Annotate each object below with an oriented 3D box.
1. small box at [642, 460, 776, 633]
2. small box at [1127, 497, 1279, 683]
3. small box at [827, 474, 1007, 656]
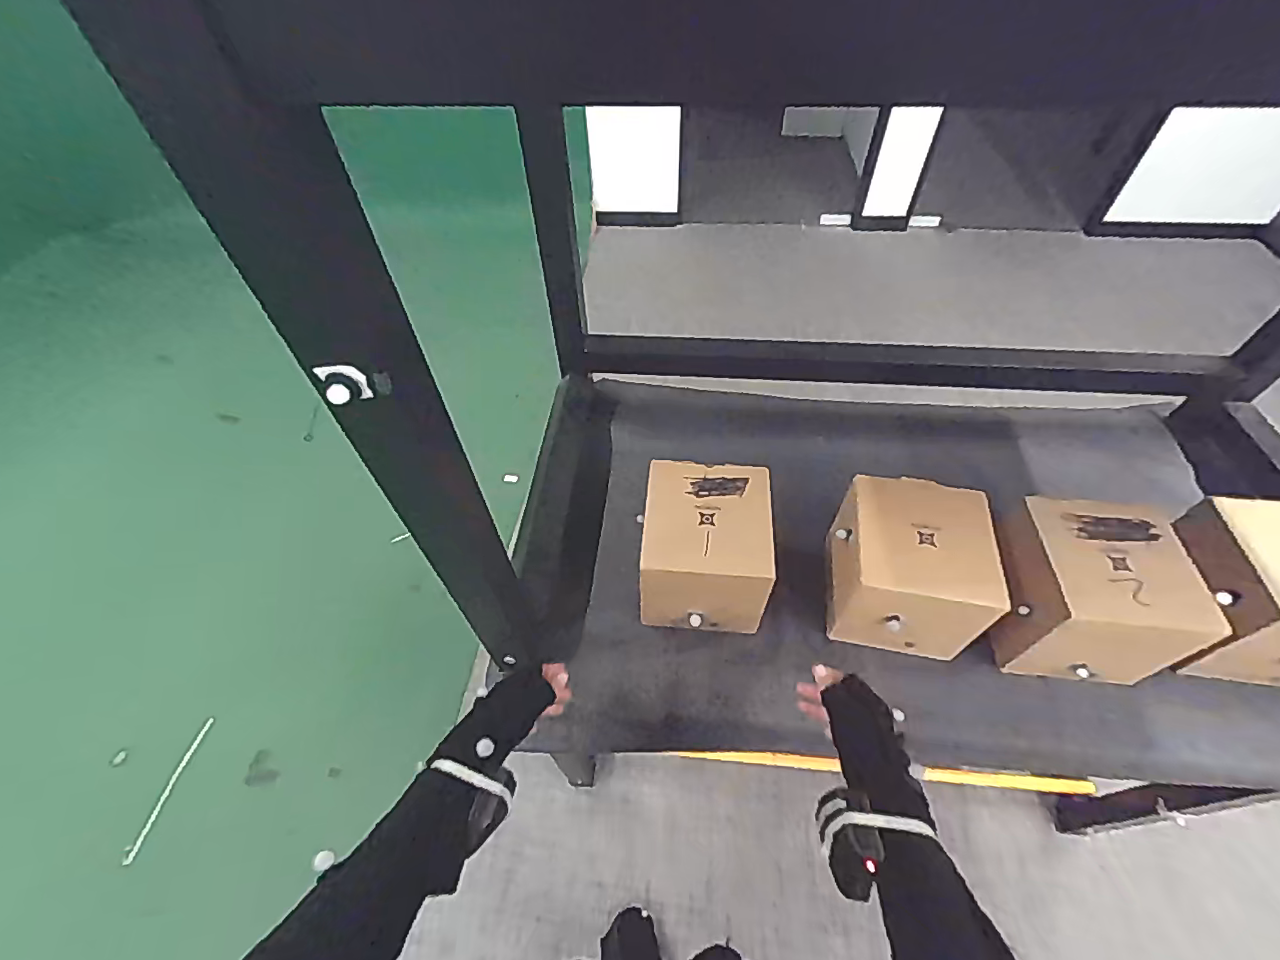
[{"bbox_3d":[0.092,0.095,0.765,0.168,0.176,0.179,3,52,5],"label":"small box"},{"bbox_3d":[0.798,0.147,0.698,0.168,0.176,0.179,6,51,6],"label":"small box"},{"bbox_3d":[0.359,0.120,0.739,0.168,0.176,0.179,9,52,9],"label":"small box"}]
